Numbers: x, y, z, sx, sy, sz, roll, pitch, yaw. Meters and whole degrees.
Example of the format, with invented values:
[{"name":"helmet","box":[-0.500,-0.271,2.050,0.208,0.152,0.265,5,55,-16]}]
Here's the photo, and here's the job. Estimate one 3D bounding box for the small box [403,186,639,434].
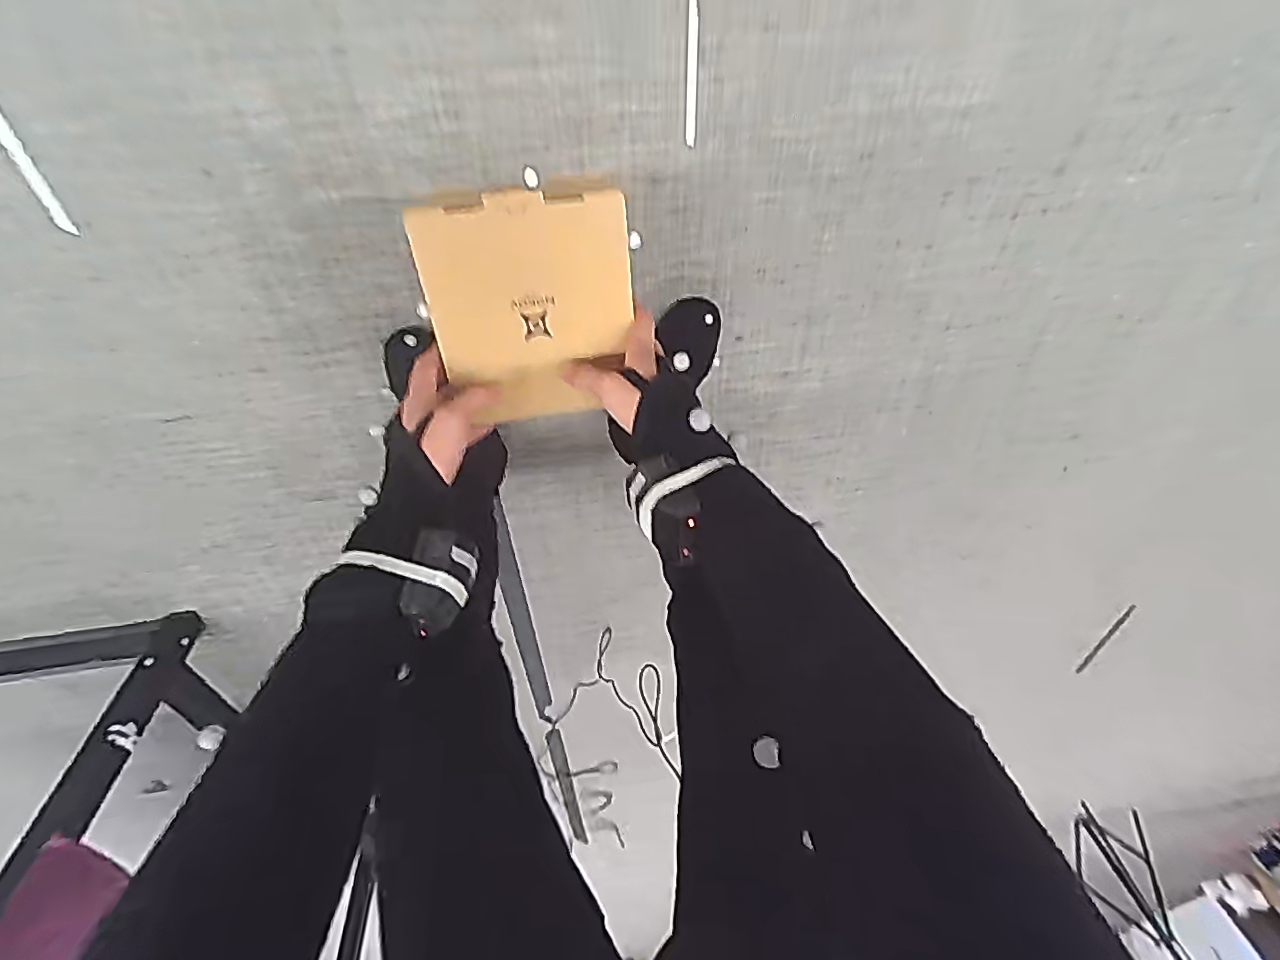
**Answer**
[{"name":"small box","box":[-0.097,-0.165,0.507,0.168,0.176,0.179,-9,123,-5]}]
